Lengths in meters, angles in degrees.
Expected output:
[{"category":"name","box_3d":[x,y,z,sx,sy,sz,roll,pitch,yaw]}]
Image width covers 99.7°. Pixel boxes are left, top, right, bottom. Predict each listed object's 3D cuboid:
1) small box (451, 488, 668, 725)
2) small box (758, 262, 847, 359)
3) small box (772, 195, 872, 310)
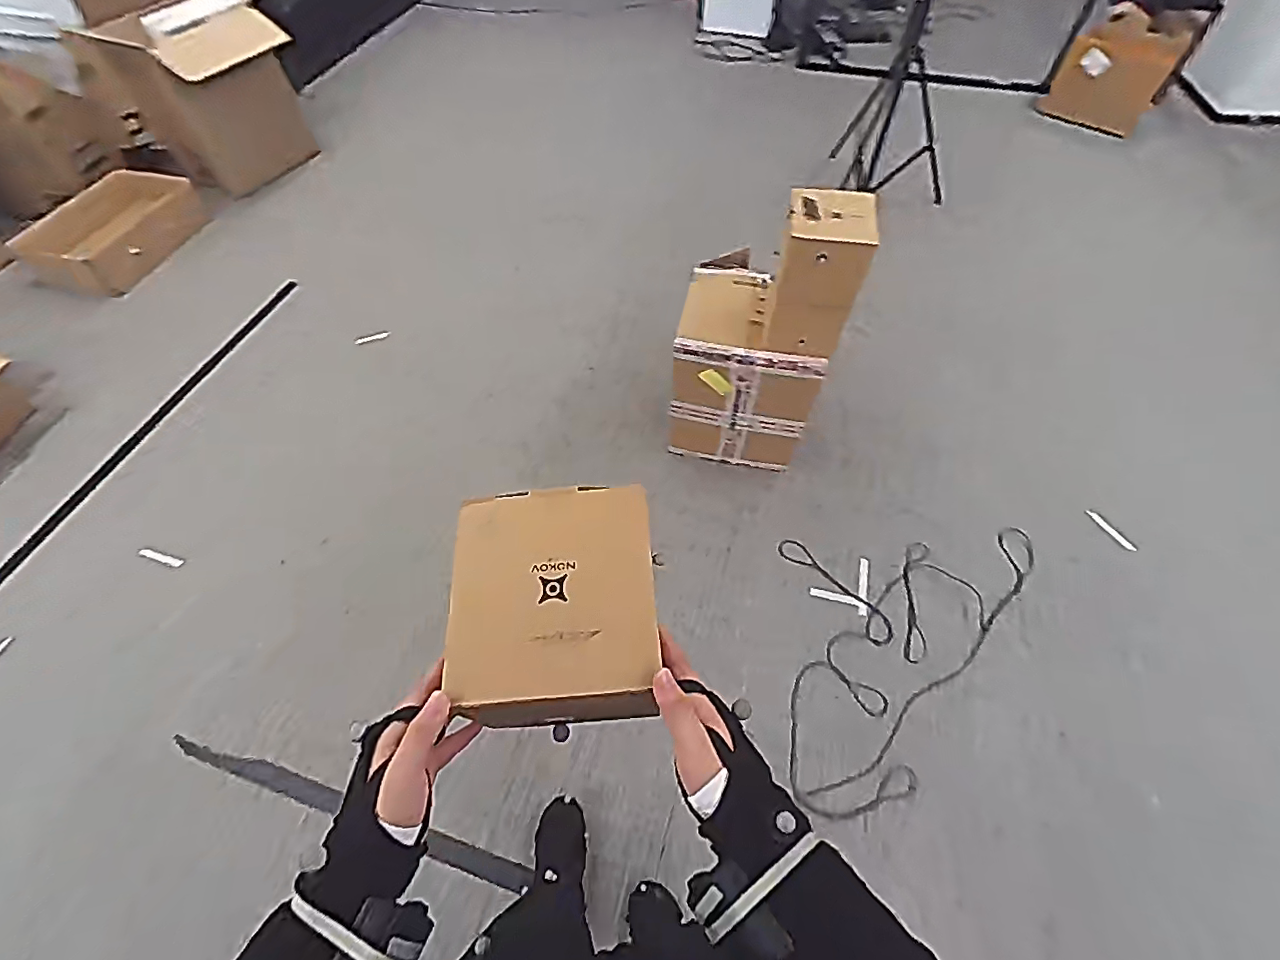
[{"category":"small box","box_3d":[-0.064,0.126,0.516,0.168,0.176,0.179,-4,61,-1]},{"category":"small box","box_3d":[0.399,-0.421,1.343,0.179,0.176,0.168,7,61,5]},{"category":"small box","box_3d":[0.393,-0.498,1.196,0.179,0.176,0.168,7,62,5]}]
